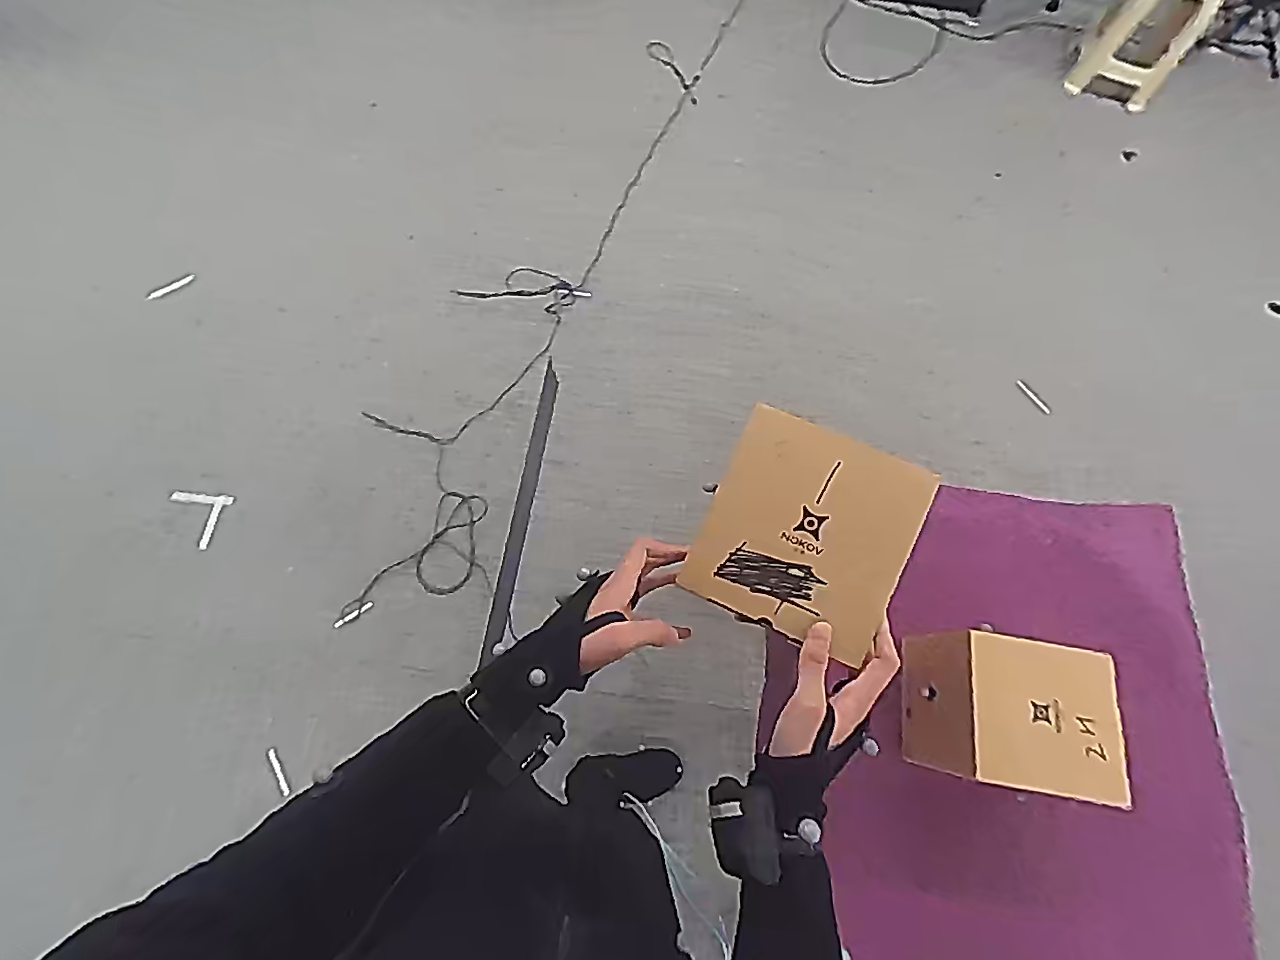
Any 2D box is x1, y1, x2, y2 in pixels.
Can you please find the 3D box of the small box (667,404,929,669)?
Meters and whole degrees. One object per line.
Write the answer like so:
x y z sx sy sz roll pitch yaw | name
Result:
0.142 0.053 0.532 0.168 0.176 0.179 24 87 9 | small box

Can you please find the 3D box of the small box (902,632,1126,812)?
0.462 0.303 0.699 0.179 0.176 0.168 11 70 1 | small box
